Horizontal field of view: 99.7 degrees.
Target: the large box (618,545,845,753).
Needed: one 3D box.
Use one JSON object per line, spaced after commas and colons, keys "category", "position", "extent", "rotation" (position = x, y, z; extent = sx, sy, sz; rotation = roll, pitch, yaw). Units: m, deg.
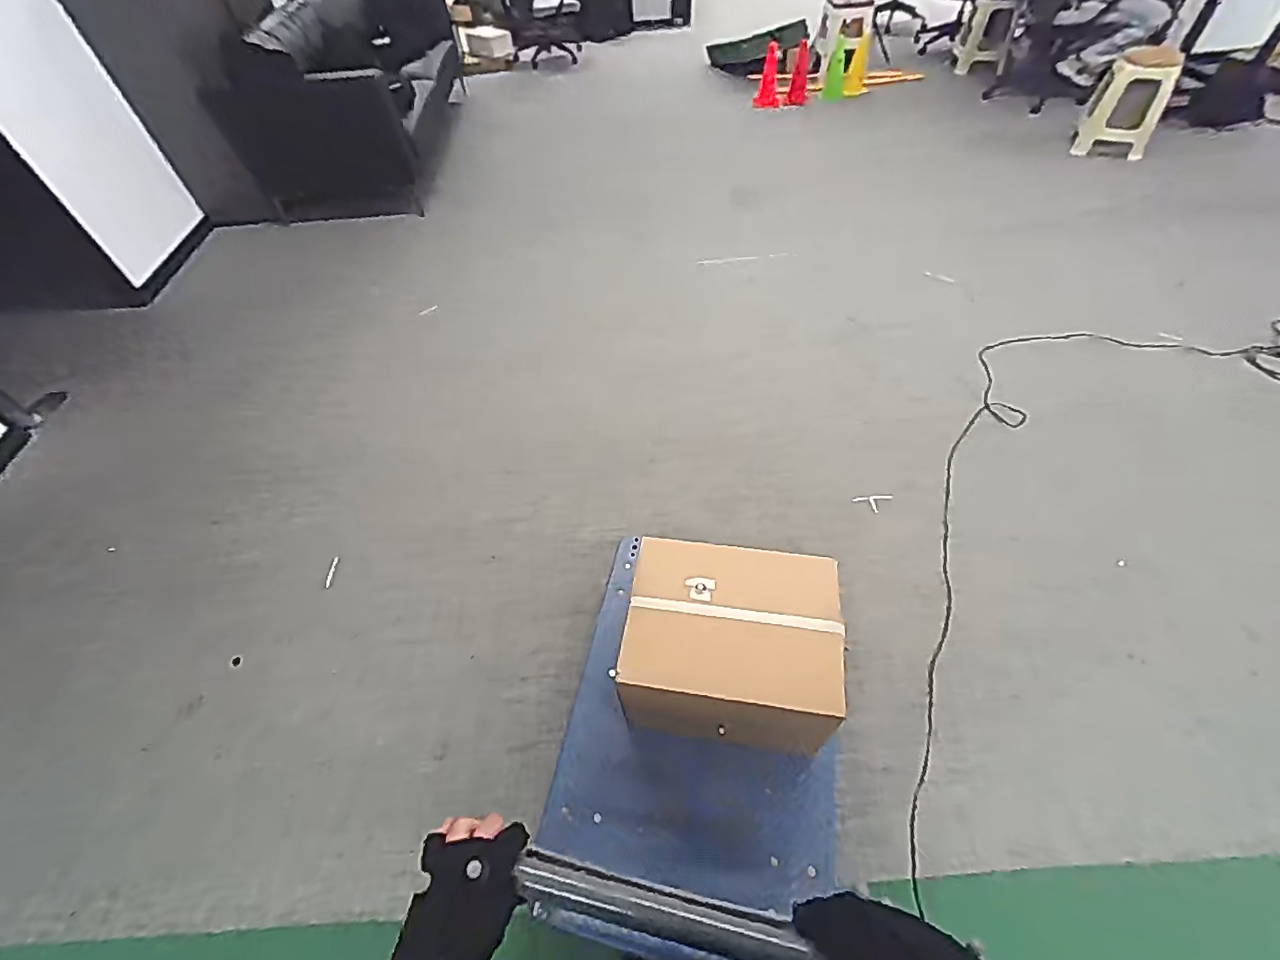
{"category": "large box", "position": [0.191, 0.363, 1.155], "extent": [0.408, 0.320, 0.320], "rotation": [5, 51, 9]}
